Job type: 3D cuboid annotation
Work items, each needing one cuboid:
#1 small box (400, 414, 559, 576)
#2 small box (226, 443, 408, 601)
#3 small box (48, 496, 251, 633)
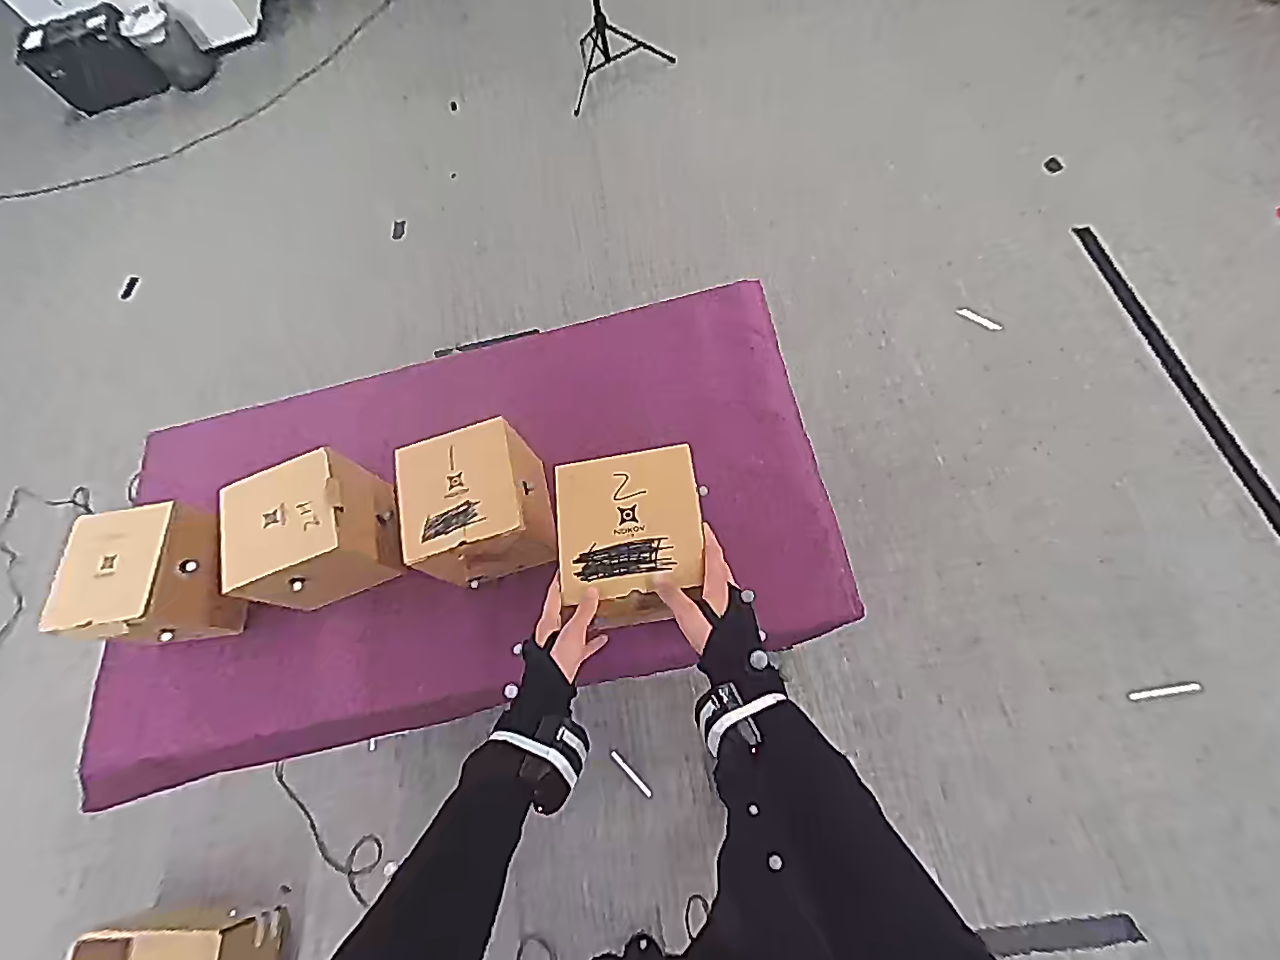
[{"bbox_3d":[-0.231,0.034,0.806,0.168,0.176,0.179,-17,66,3],"label":"small box"},{"bbox_3d":[-0.491,0.074,0.835,0.179,0.176,0.168,-21,67,1],"label":"small box"},{"bbox_3d":[-0.743,0.142,0.852,0.168,0.176,0.179,-8,67,6],"label":"small box"}]
